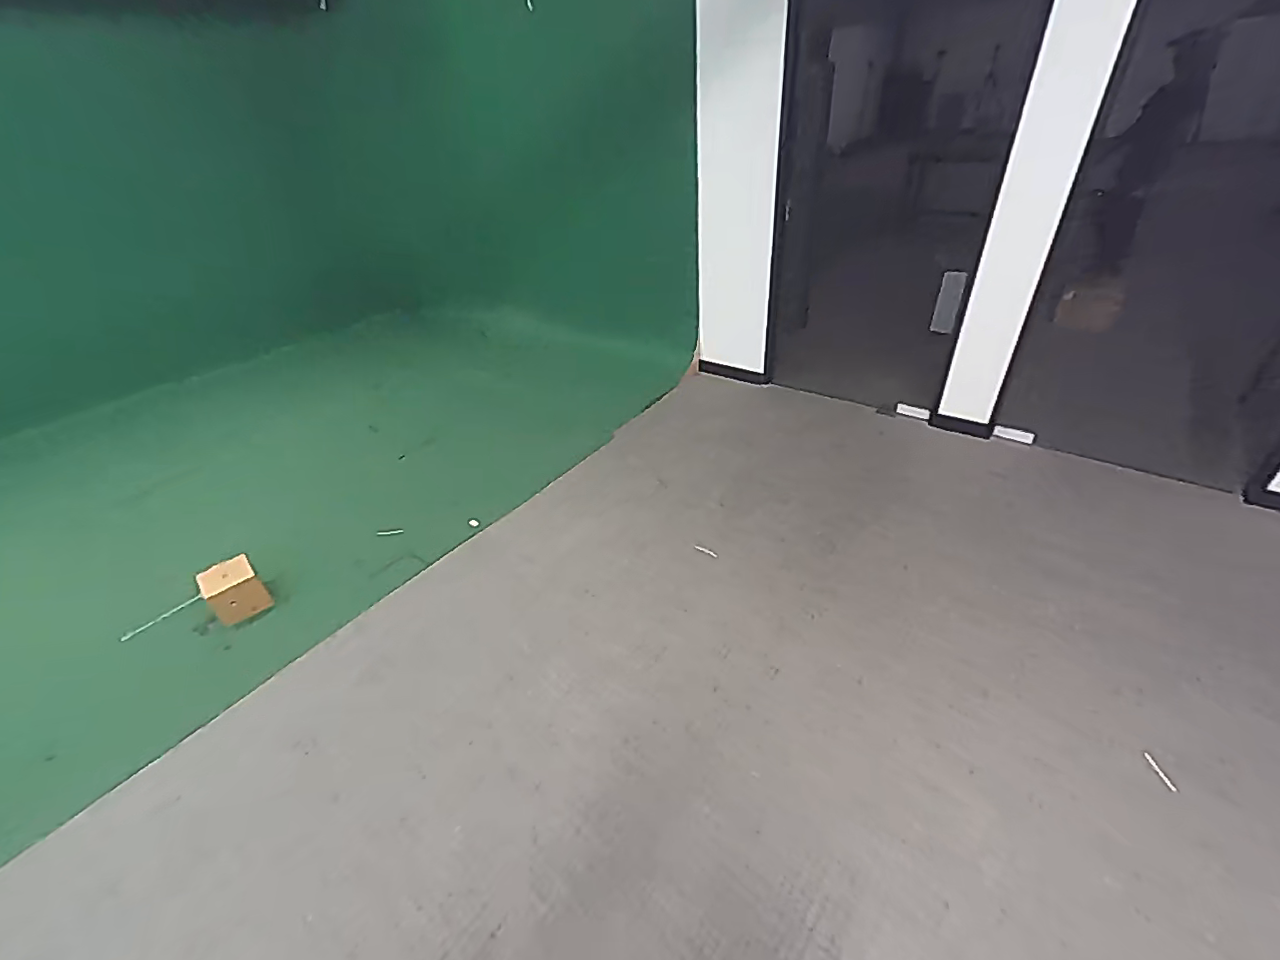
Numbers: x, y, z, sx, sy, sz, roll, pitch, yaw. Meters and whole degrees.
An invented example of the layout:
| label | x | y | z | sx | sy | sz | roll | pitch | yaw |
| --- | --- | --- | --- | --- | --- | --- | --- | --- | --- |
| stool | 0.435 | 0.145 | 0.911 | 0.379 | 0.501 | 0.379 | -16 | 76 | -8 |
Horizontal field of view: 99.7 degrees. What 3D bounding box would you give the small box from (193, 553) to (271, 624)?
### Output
| label | x | y | z | sx | sy | sz | roll | pitch | yaw |
| --- | --- | --- | --- | --- | --- | --- | --- | --- | --- |
| small box | -1.541 | 0.416 | 2.048 | 0.168 | 0.176 | 0.179 | -32 | 44 | -33 |
